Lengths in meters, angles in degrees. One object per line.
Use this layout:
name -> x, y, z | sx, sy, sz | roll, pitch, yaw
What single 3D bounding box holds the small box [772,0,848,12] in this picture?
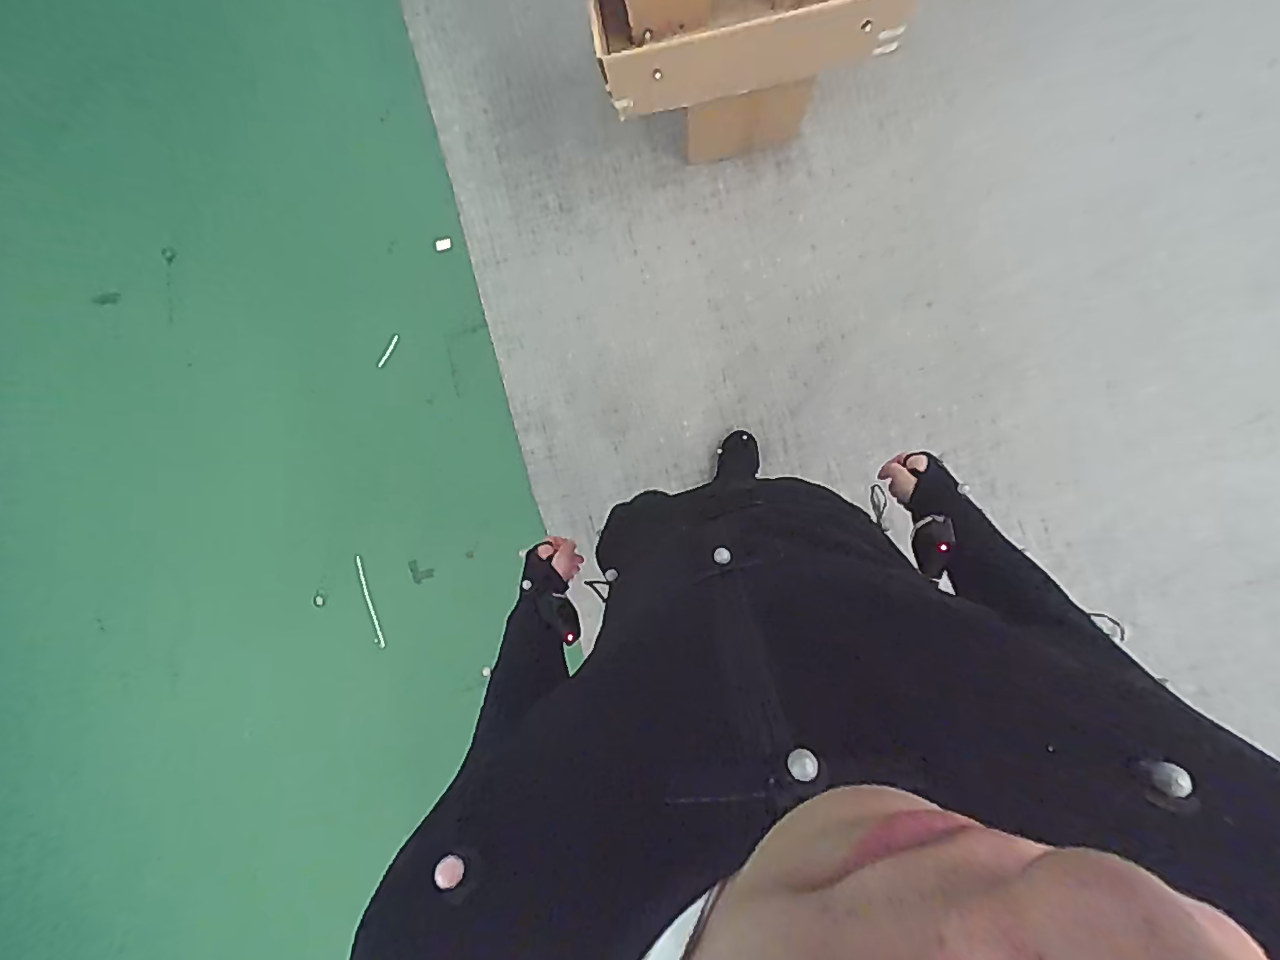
small box -> 0.336, -1.045, 1.018 | 0.168, 0.176, 0.179 | -4, 94, 8
